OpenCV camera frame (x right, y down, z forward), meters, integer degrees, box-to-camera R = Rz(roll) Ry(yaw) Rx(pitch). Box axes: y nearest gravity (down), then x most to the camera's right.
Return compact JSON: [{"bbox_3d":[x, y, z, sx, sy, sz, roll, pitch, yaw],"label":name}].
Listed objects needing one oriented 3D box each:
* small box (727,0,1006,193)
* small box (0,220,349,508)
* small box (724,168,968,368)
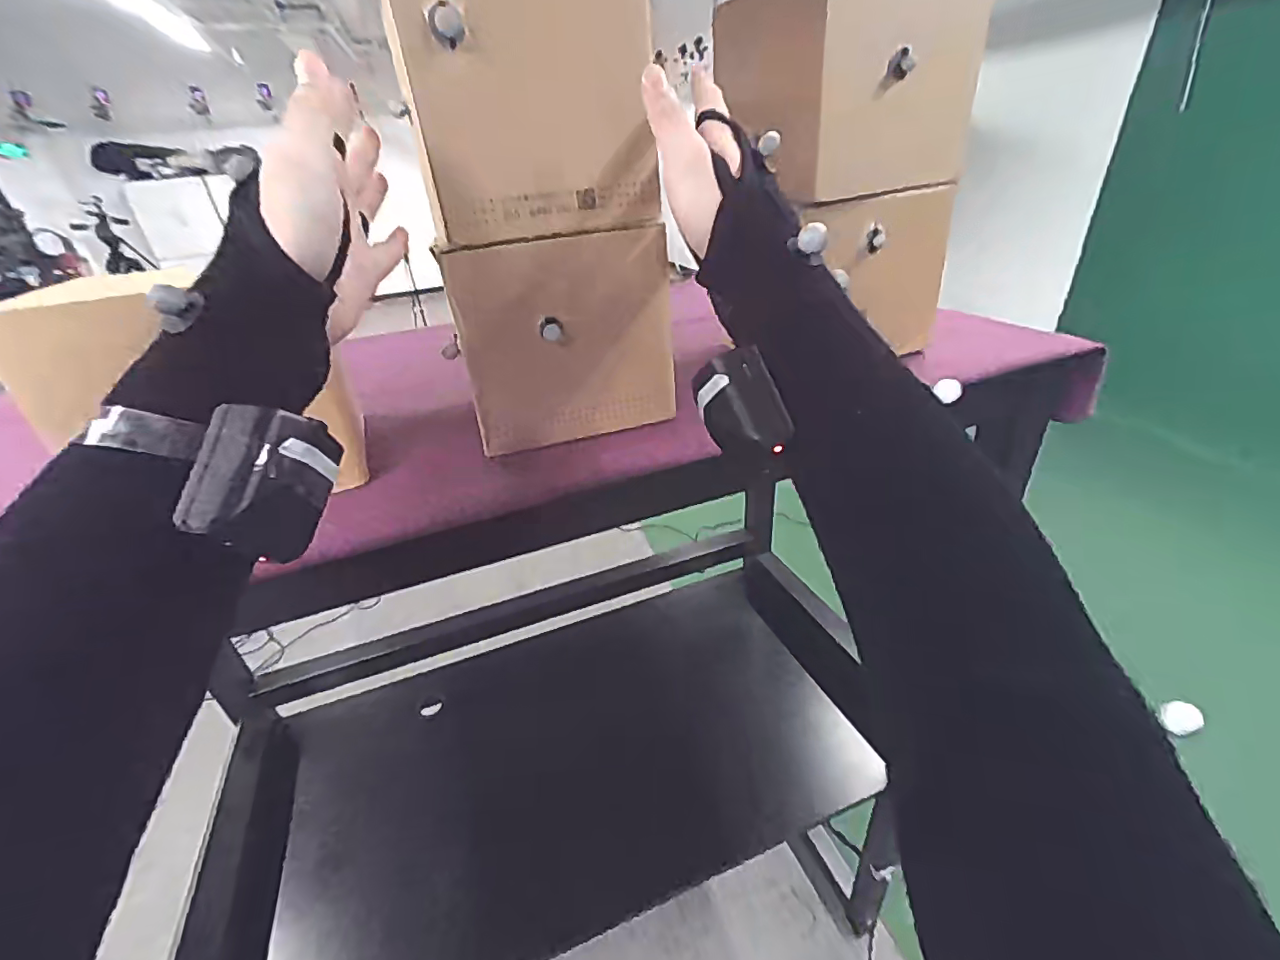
[{"bbox_3d":[0.189,-0.366,0.491,0.179,0.176,0.168,-17,33,-16],"label":"small box"},{"bbox_3d":[-0.341,-0.094,0.419,0.168,0.176,0.179,-17,32,-19],"label":"small box"},{"bbox_3d":[0.201,-0.228,0.577,0.179,0.176,0.168,-12,32,-12],"label":"small box"}]
